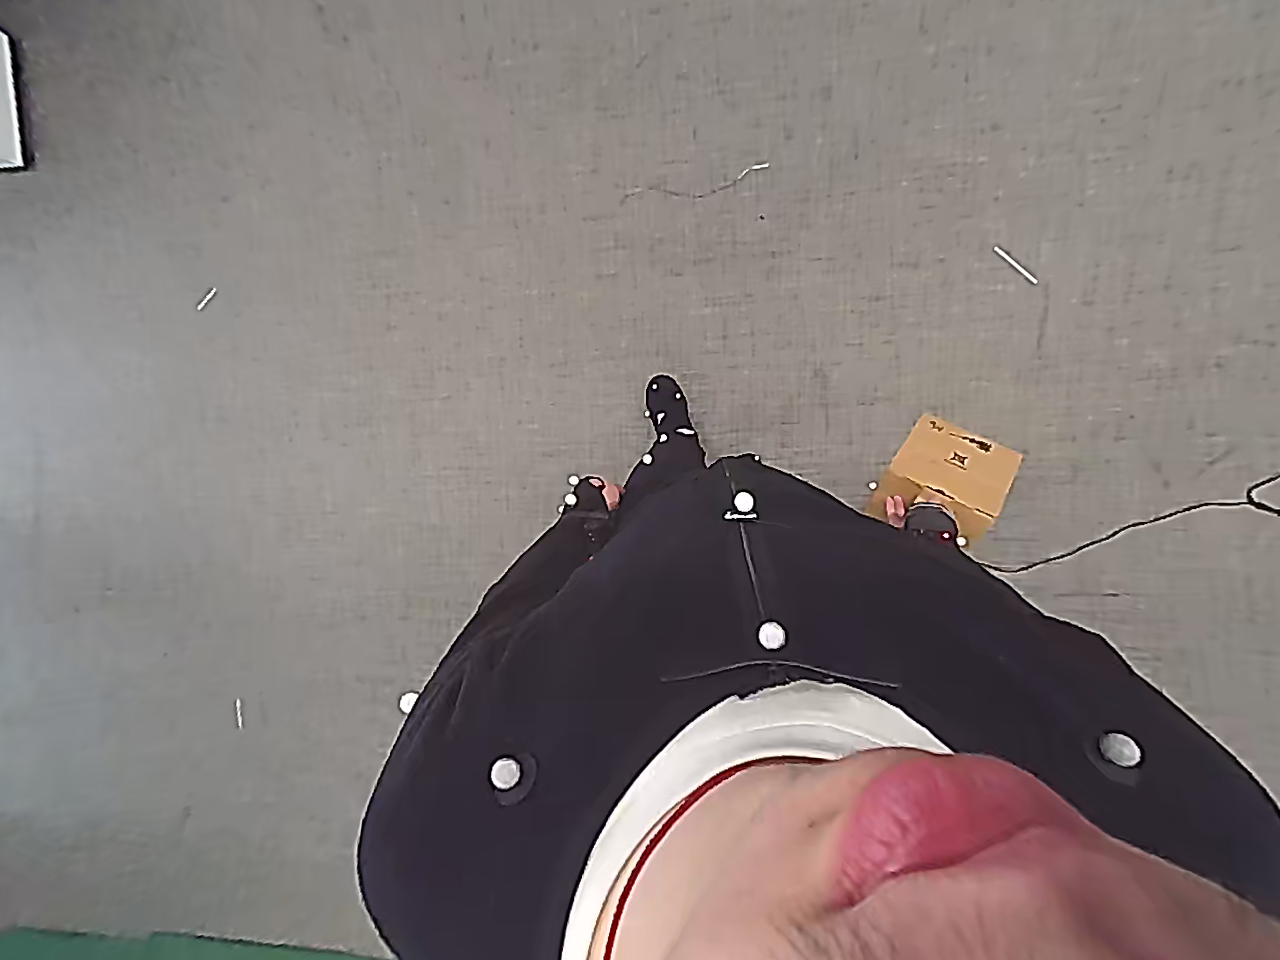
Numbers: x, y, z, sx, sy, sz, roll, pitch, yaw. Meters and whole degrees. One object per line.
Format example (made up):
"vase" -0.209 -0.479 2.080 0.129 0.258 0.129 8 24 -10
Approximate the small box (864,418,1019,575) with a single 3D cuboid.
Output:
"small box" 0.505 0.030 0.926 0.168 0.179 0.176 27 143 24
